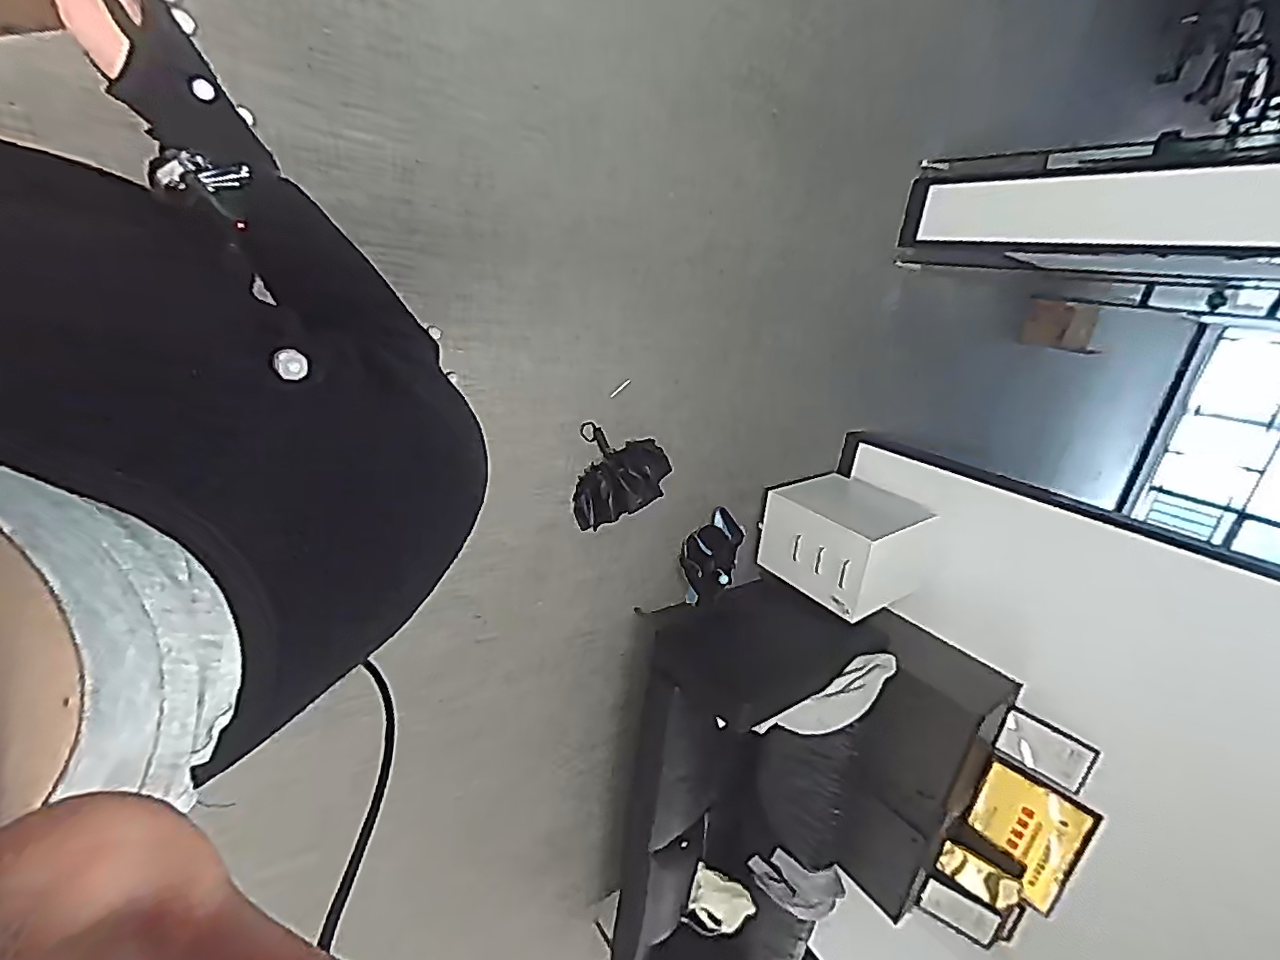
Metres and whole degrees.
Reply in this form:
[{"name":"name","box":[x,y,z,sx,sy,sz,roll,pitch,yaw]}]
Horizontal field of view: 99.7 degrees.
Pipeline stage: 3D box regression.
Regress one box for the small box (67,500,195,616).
[{"name":"small box","box":[-1.116,0.166,1.204,0.168,0.176,0.179,-14,117,-33]}]

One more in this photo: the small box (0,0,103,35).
[{"name":"small box","box":[-0.480,-0.376,0.310,0.168,0.176,0.179,-24,124,-16]}]
